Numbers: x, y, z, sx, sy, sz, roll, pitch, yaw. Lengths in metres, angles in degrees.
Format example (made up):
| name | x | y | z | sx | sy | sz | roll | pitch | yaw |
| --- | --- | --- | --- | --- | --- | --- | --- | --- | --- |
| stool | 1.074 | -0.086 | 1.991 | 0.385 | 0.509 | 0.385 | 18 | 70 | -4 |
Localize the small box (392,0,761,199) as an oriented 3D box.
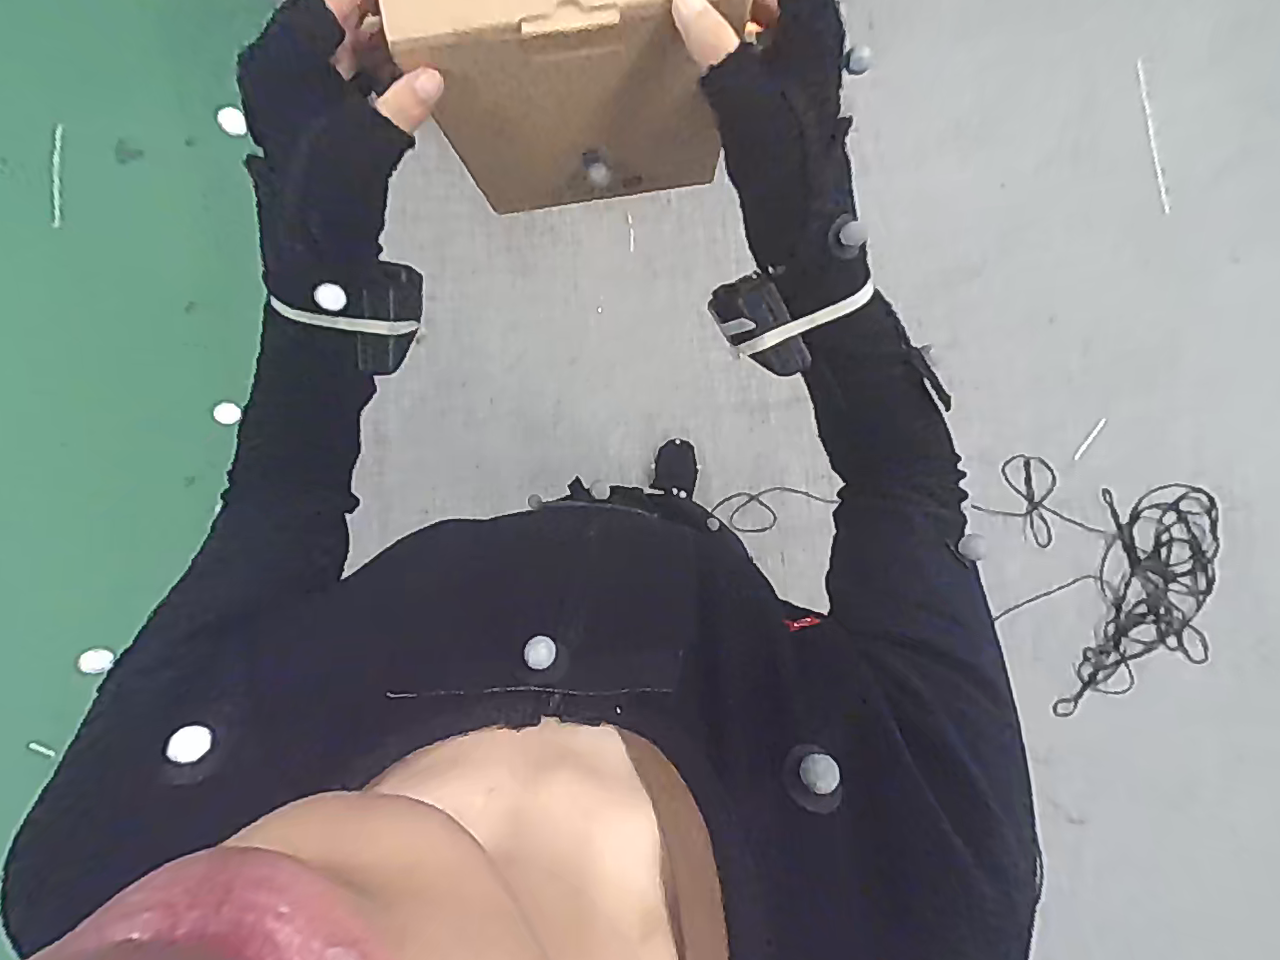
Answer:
| name | x | y | z | sx | sy | sz | roll | pitch | yaw |
| --- | --- | --- | --- | --- | --- | --- | --- | --- | --- |
| small box | -0.034 | -0.296 | 0.308 | 0.168 | 0.176 | 0.179 | -7 | 92 | 3 |
